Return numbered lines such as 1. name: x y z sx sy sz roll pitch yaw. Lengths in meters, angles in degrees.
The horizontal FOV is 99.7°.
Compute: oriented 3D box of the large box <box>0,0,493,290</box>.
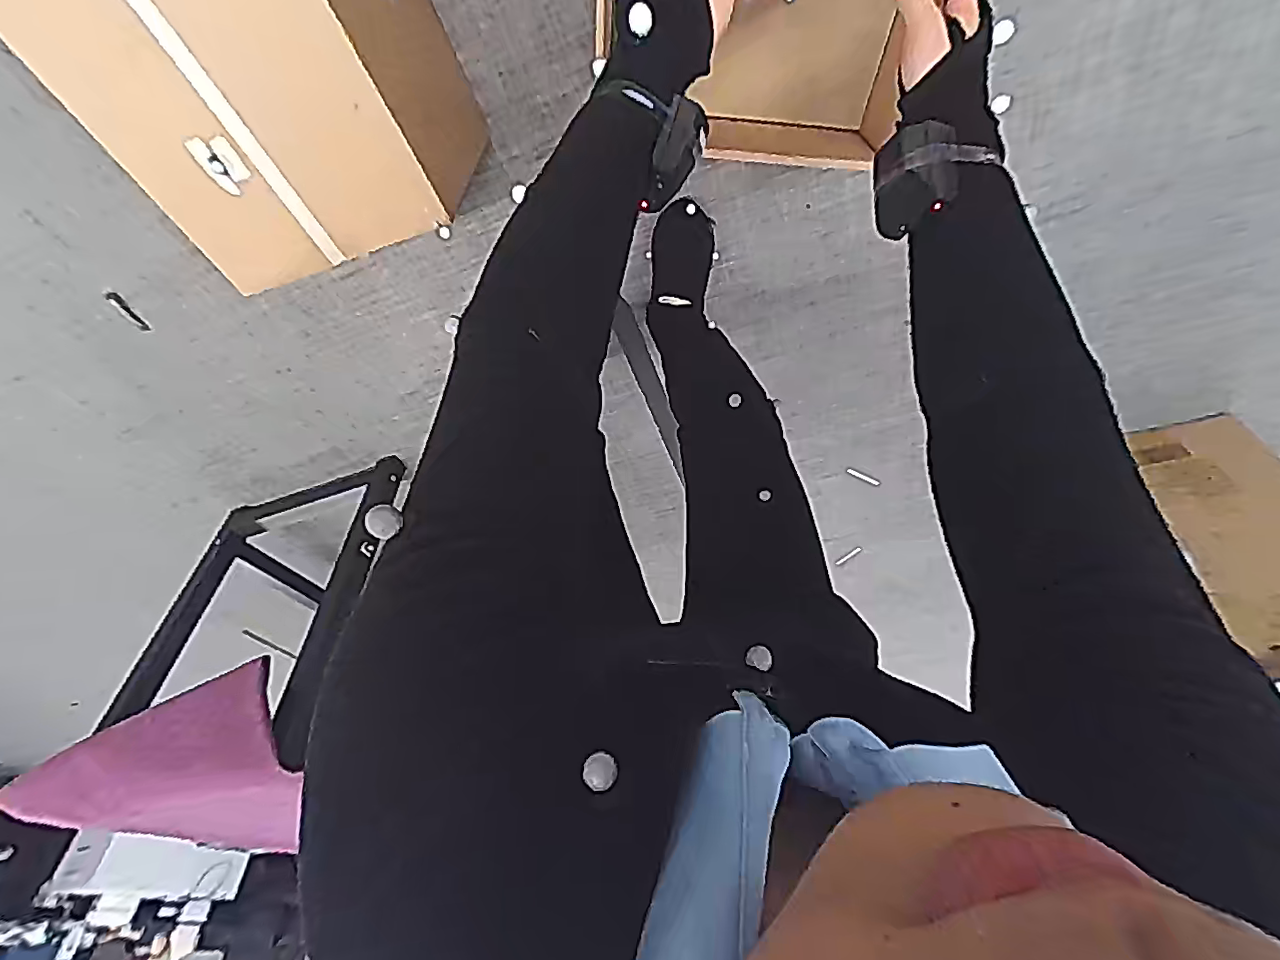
1. large box: -0.422 -0.514 0.627 0.320 0.320 0.408 -12 138 13
